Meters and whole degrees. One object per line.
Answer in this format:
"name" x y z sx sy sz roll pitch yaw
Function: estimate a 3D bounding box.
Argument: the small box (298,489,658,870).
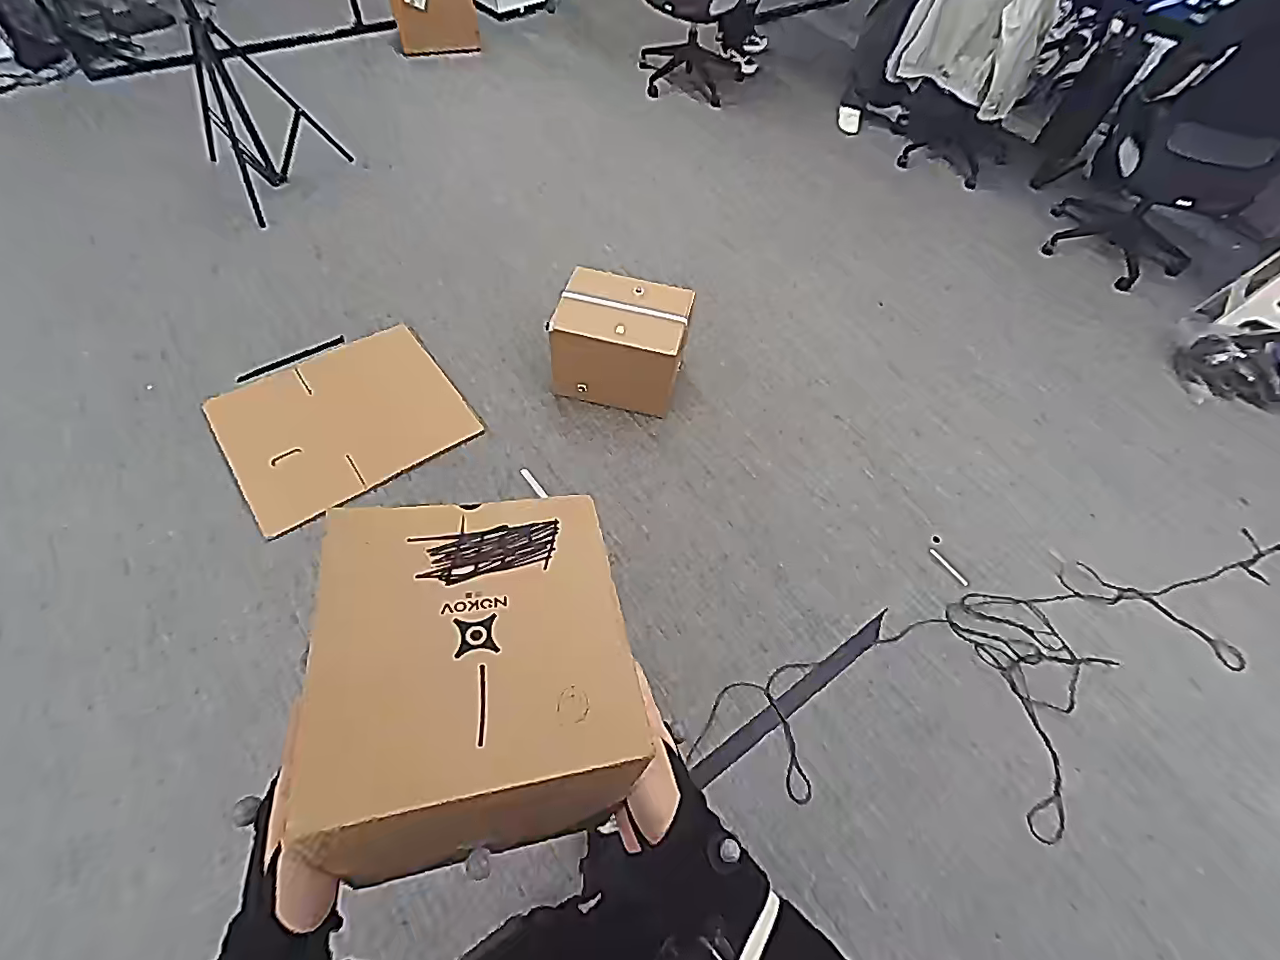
"small box" -0.103 0.127 0.361 0.168 0.176 0.179 -3 50 -18
